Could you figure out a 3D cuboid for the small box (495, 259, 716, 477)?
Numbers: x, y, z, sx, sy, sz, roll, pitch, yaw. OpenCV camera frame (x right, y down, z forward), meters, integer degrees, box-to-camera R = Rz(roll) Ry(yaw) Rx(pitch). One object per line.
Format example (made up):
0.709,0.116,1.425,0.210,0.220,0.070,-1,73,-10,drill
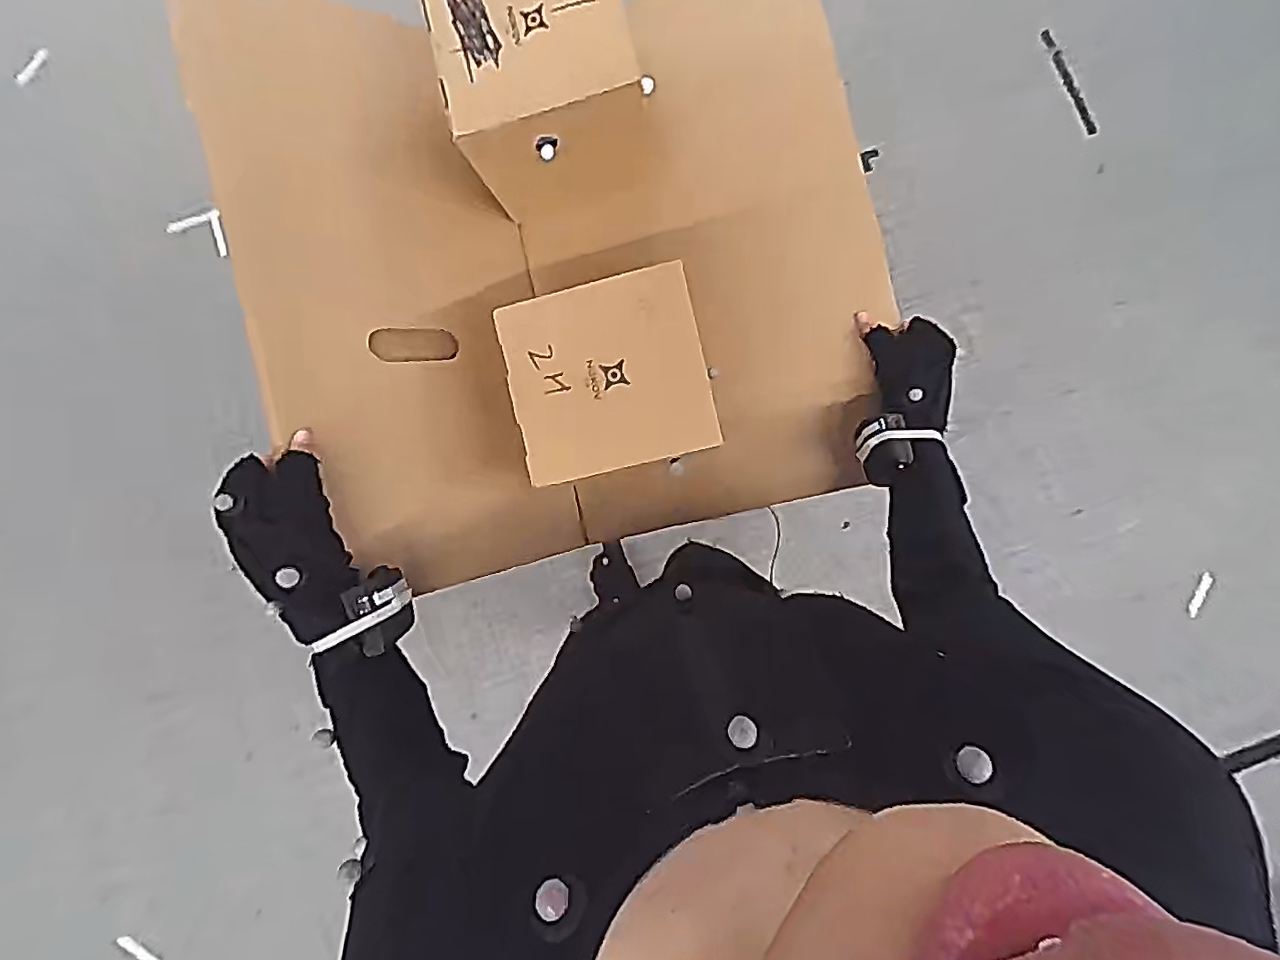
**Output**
-0.024,-0.101,0.562,0.179,0.176,0.168,-12,89,7,small box

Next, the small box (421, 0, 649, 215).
-0.097,-0.410,0.567,0.179,0.176,0.168,-14,89,6,small box
